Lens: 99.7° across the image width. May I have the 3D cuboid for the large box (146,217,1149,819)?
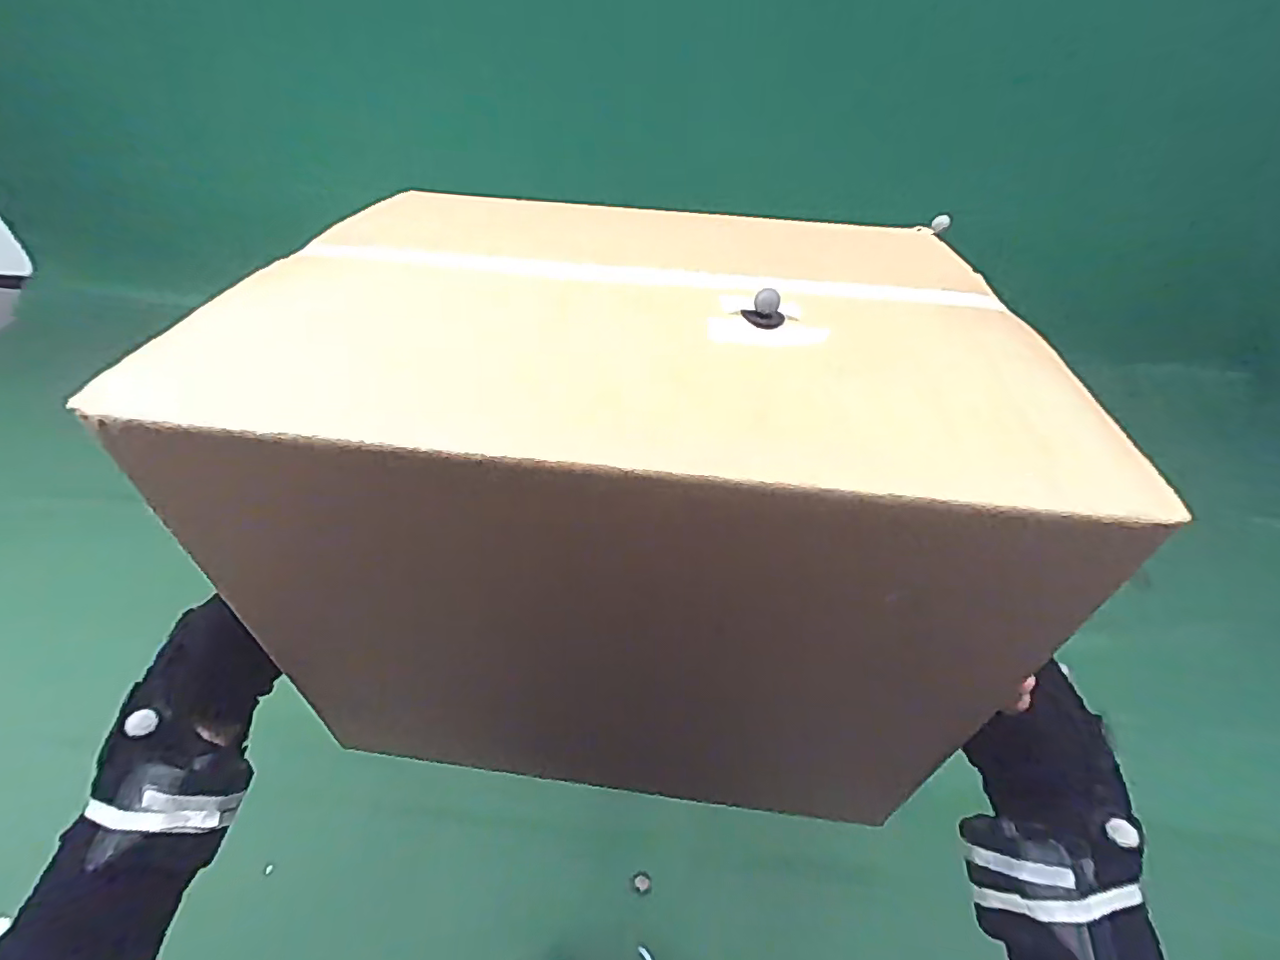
[{"bbox_3d":[0.002,0.015,0.417,0.408,0.320,0.320,7,41,4],"label":"large box"}]
